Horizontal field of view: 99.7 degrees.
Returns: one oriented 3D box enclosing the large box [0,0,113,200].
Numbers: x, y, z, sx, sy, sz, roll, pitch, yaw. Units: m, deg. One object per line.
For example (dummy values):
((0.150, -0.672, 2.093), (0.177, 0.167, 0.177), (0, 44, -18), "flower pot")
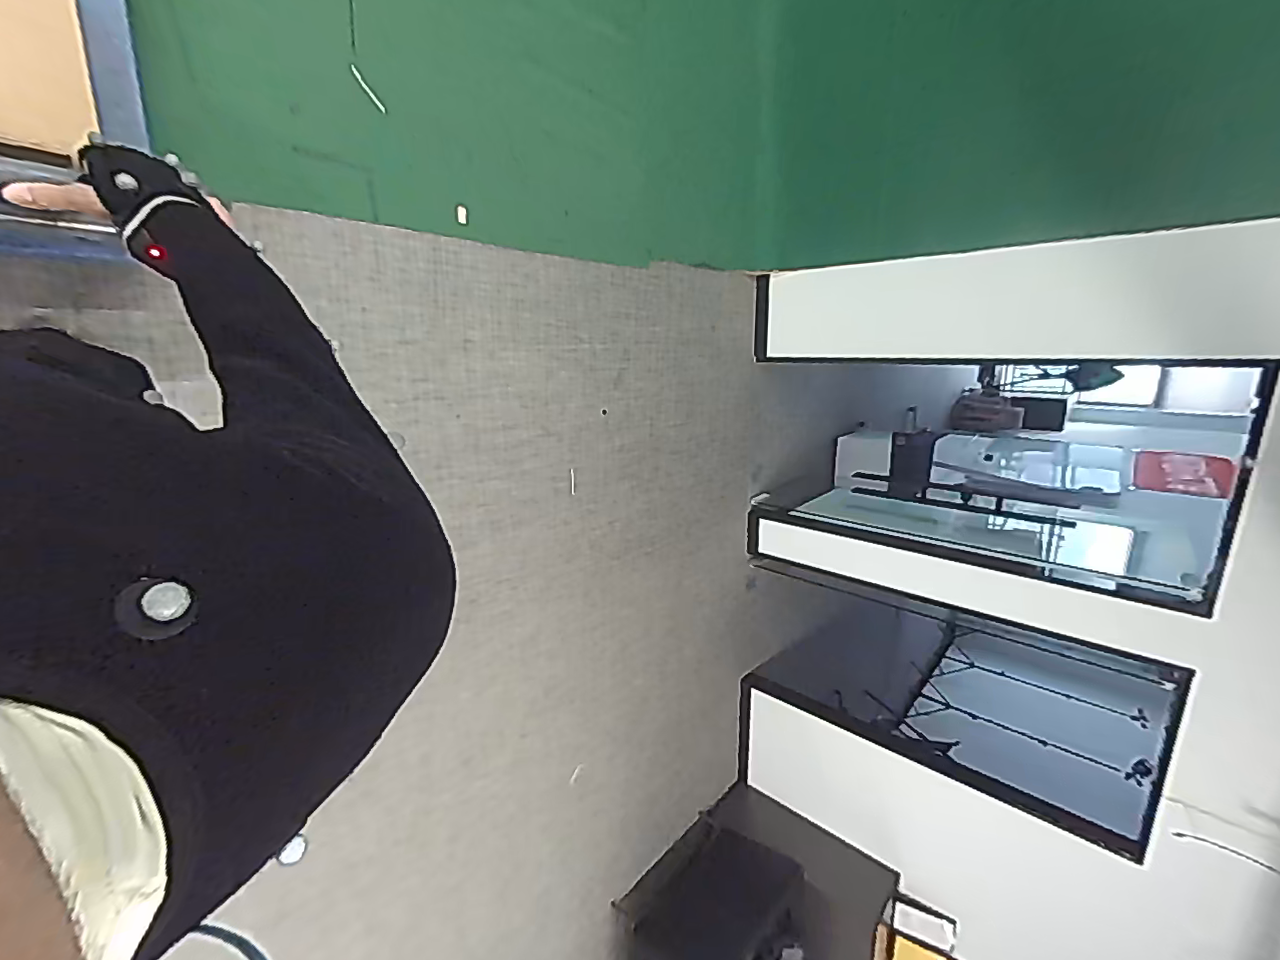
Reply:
((-0.998, -0.657, 0.748), (0.320, 0.320, 0.408), (-14, 108, -47), "large box")
